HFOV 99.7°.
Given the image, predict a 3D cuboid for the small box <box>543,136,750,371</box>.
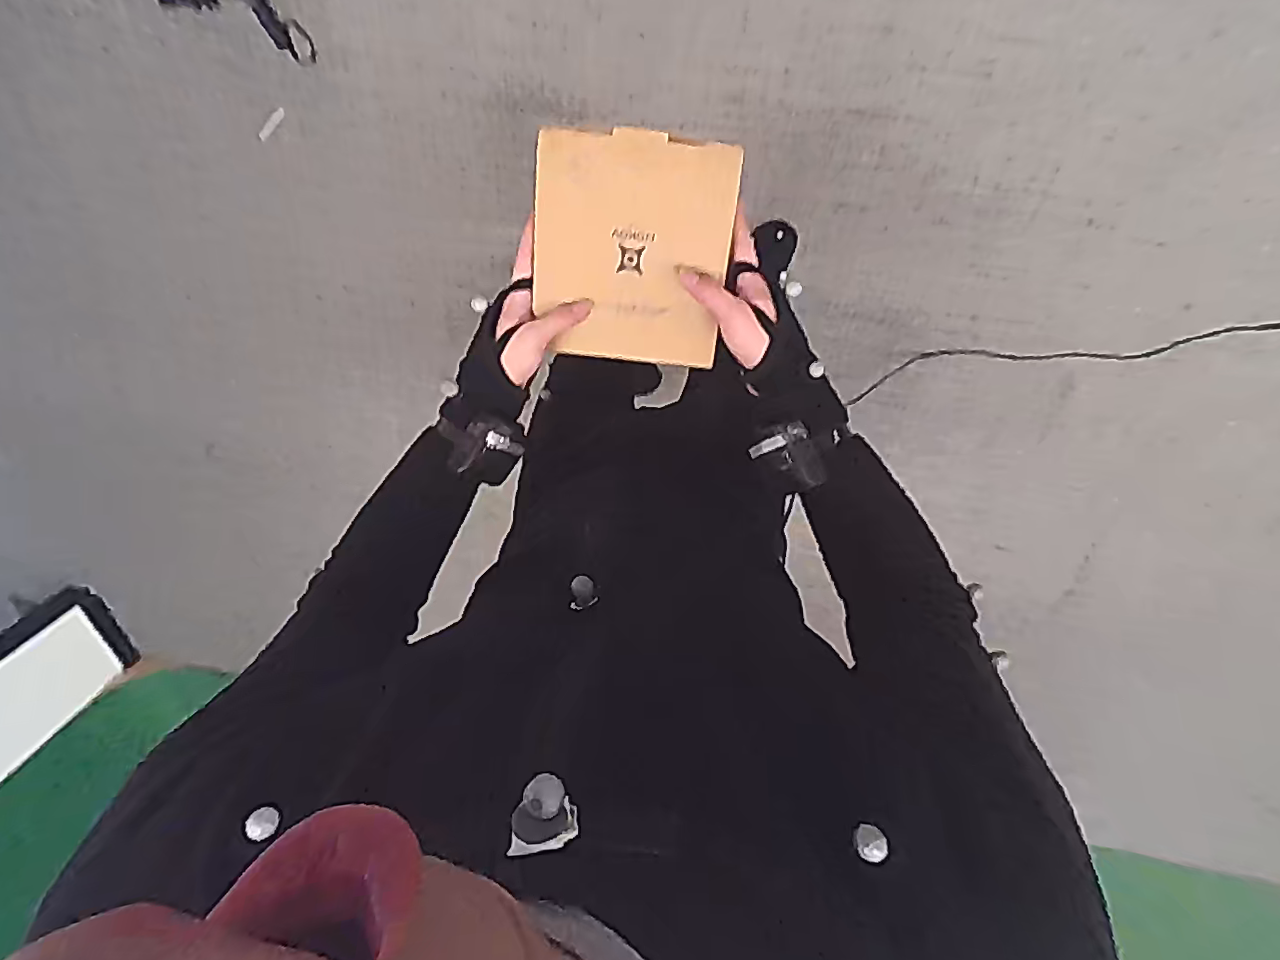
[{"bbox_3d":[0.005,-0.214,0.534,0.168,0.176,0.179,6,111,3],"label":"small box"}]
